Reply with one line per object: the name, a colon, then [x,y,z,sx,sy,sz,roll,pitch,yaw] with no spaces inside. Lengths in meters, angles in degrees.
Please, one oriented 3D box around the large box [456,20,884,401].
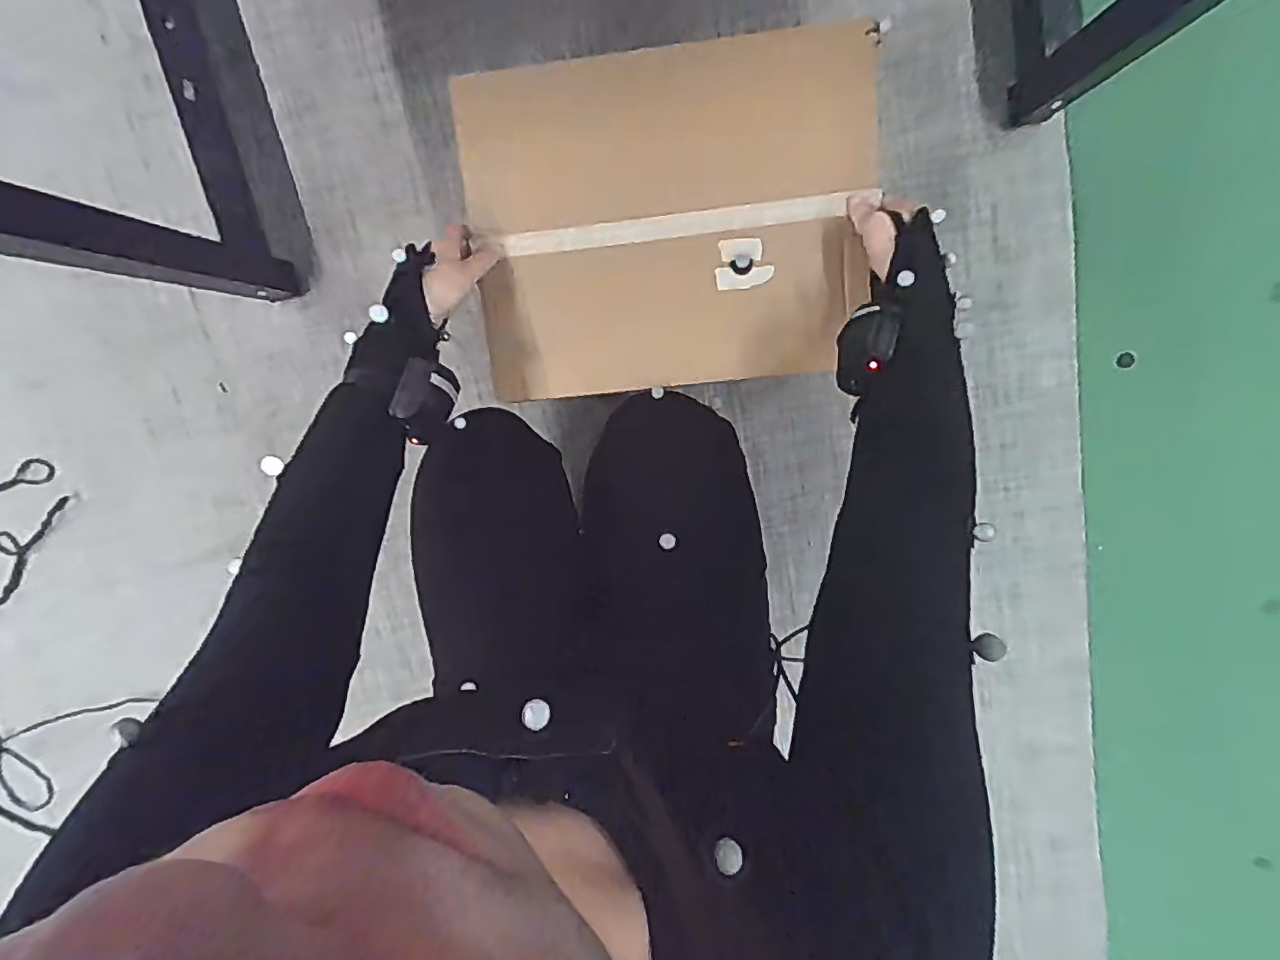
large box: [0.038,-0.282,0.682,0.408,0.320,0.320,-6,102,2]
